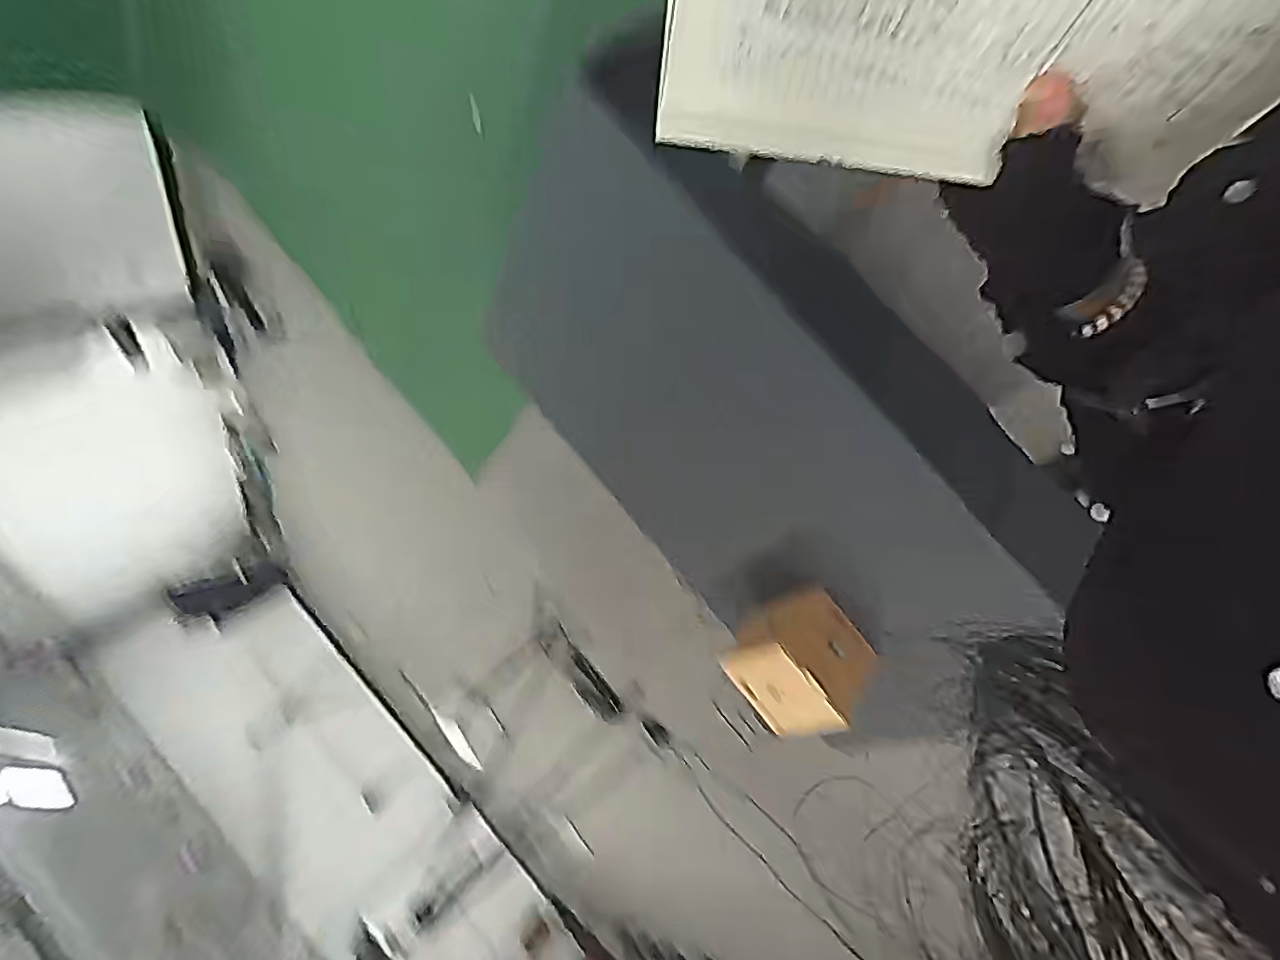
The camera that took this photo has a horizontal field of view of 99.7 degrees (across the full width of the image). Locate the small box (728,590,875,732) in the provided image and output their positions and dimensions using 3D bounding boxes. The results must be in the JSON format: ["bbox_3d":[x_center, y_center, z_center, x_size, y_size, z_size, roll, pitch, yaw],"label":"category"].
[{"bbox_3d":[0.301,0.327,0.988,0.168,0.176,0.179,50,139,3],"label":"small box"}]
